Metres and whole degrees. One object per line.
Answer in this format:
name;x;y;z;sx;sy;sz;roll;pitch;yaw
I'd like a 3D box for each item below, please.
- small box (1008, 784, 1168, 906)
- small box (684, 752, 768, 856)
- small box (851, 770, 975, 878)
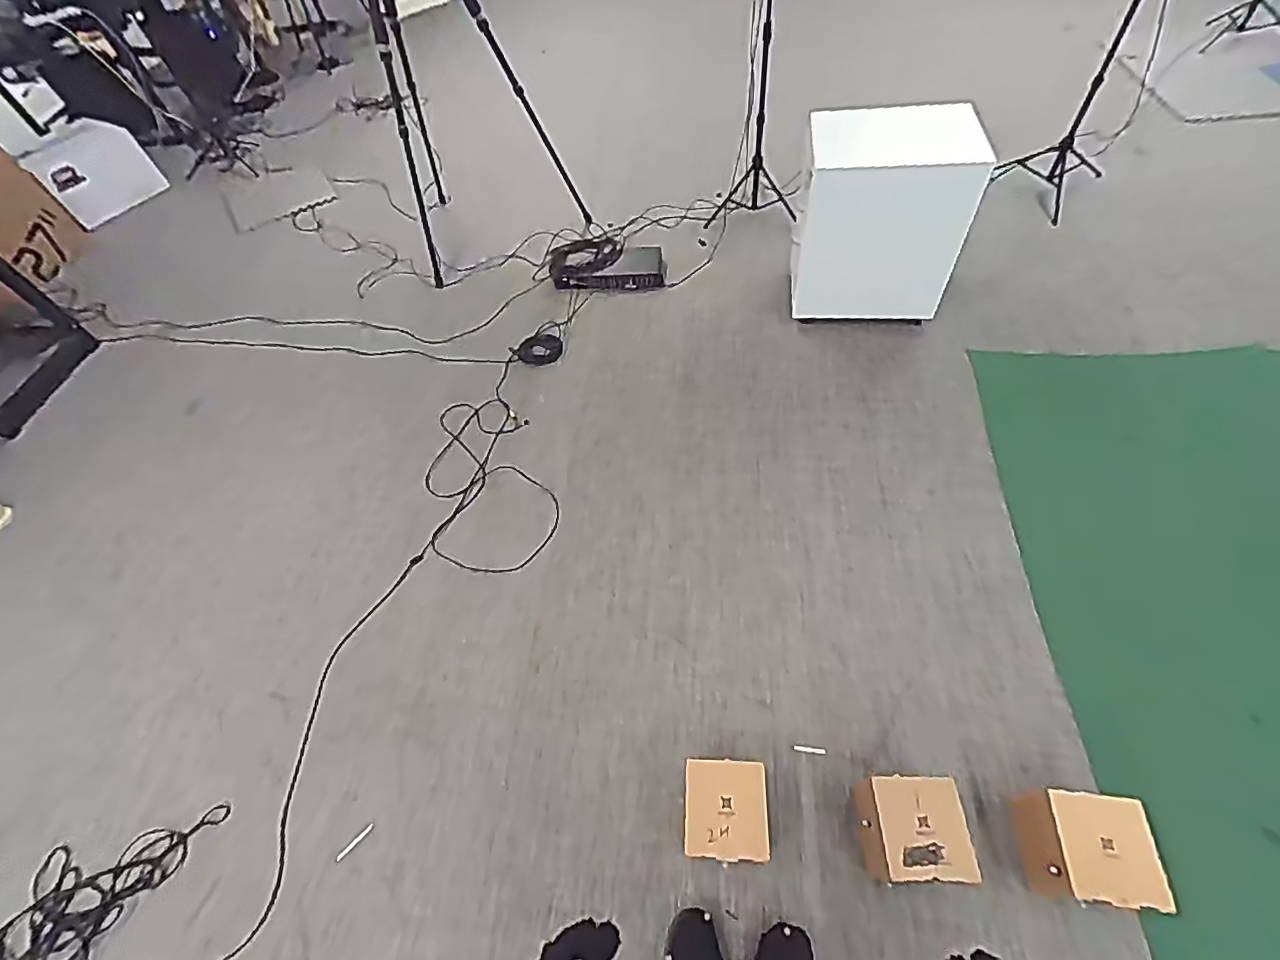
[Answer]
small box;0.875;0.725;1.082;0.168;0.176;0.179;2;56;9
small box;0.182;0.702;1.170;0.168;0.176;0.179;0;56;7
small box;0.553;0.714;1.123;0.168;0.176;0.179;-1;55;5
